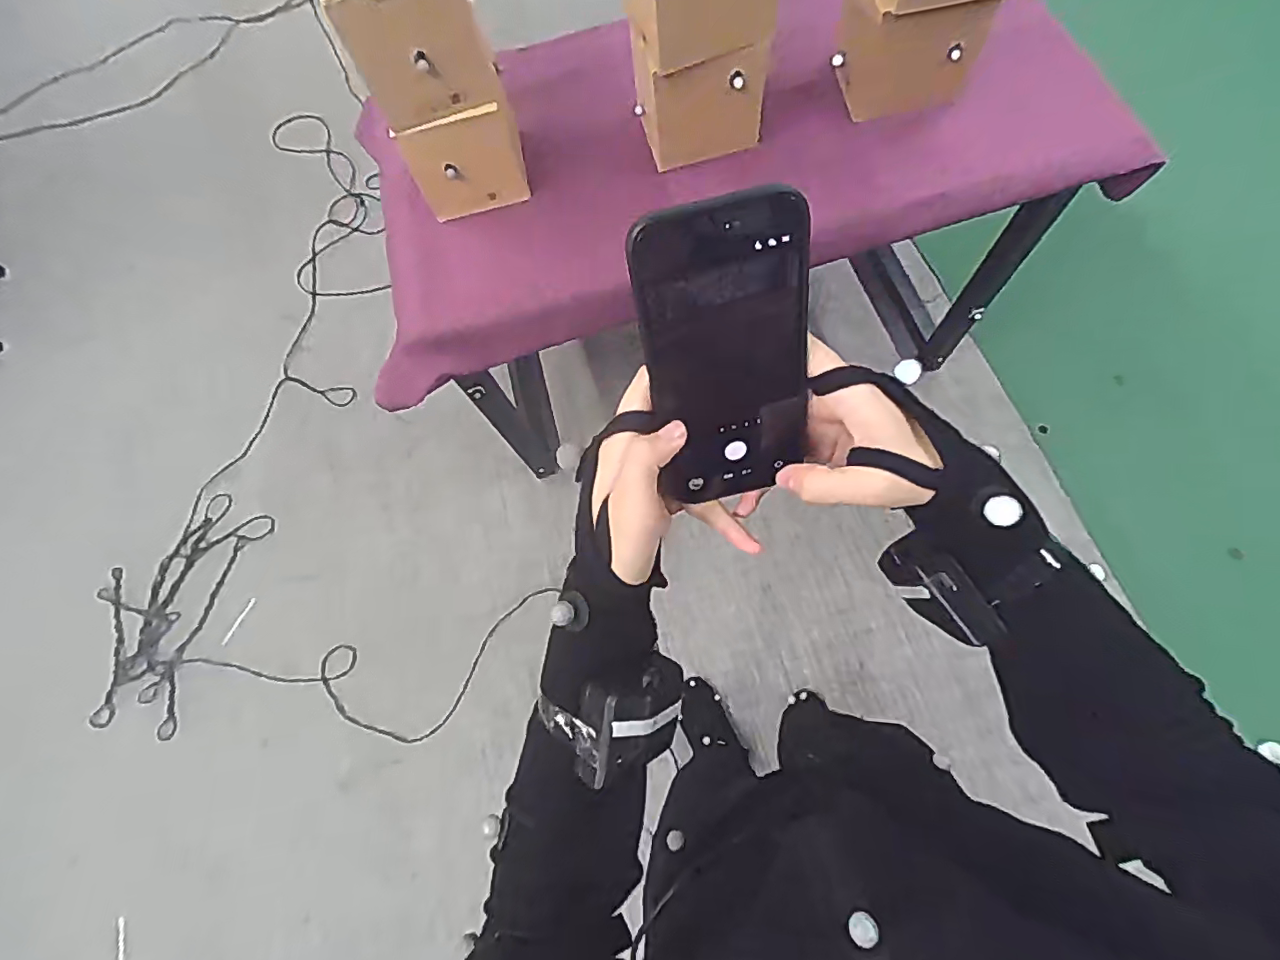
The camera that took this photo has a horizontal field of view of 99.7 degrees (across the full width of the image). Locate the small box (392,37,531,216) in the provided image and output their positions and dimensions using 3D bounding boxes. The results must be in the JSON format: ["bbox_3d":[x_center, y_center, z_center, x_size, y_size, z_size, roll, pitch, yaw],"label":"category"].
[{"bbox_3d":[-0.289,-0.567,0.893,0.168,0.176,0.179,-14,70,2],"label":"small box"}]

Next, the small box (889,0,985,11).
[{"bbox_3d":[0.420,-0.758,0.702,0.179,0.176,0.168,-9,70,3],"label":"small box"}]

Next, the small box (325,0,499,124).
[{"bbox_3d":[-0.309,-0.629,0.742,0.168,0.176,0.179,-18,70,-1],"label":"small box"}]

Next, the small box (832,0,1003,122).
[{"bbox_3d":[0.426,-0.716,0.861,0.179,0.176,0.168,-8,70,4],"label":"small box"}]

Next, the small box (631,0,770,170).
[{"bbox_3d":[0.093,-0.645,0.874,0.179,0.176,0.168,-14,70,2],"label":"small box"}]
